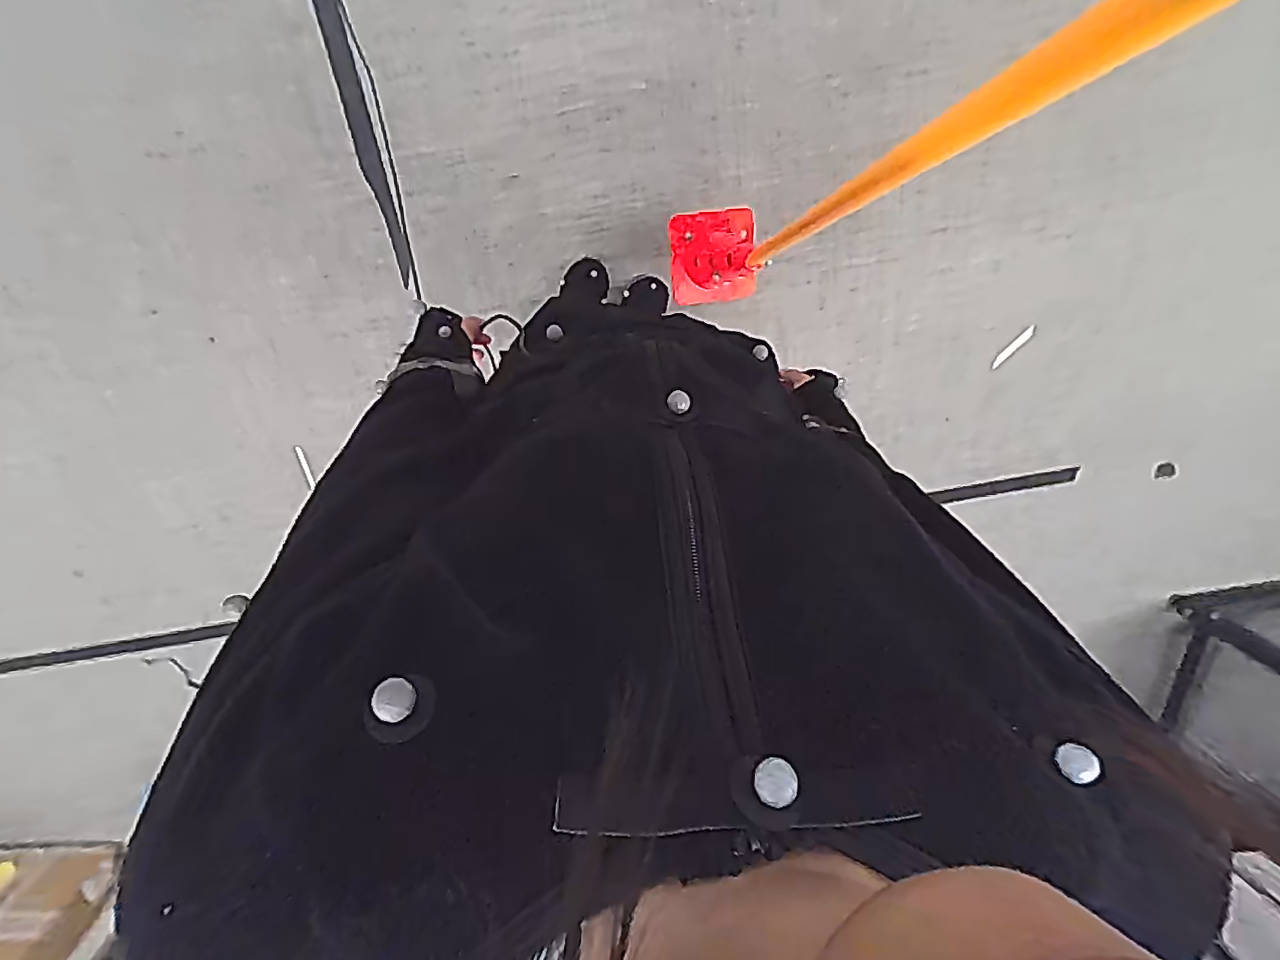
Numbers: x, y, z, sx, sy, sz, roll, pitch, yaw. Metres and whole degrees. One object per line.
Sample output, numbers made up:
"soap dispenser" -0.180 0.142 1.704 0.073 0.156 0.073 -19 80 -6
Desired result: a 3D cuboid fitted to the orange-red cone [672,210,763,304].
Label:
"orange-red cone" 0.187 -0.453 1.109 0.198 0.360 0.199 -6 114 -2
